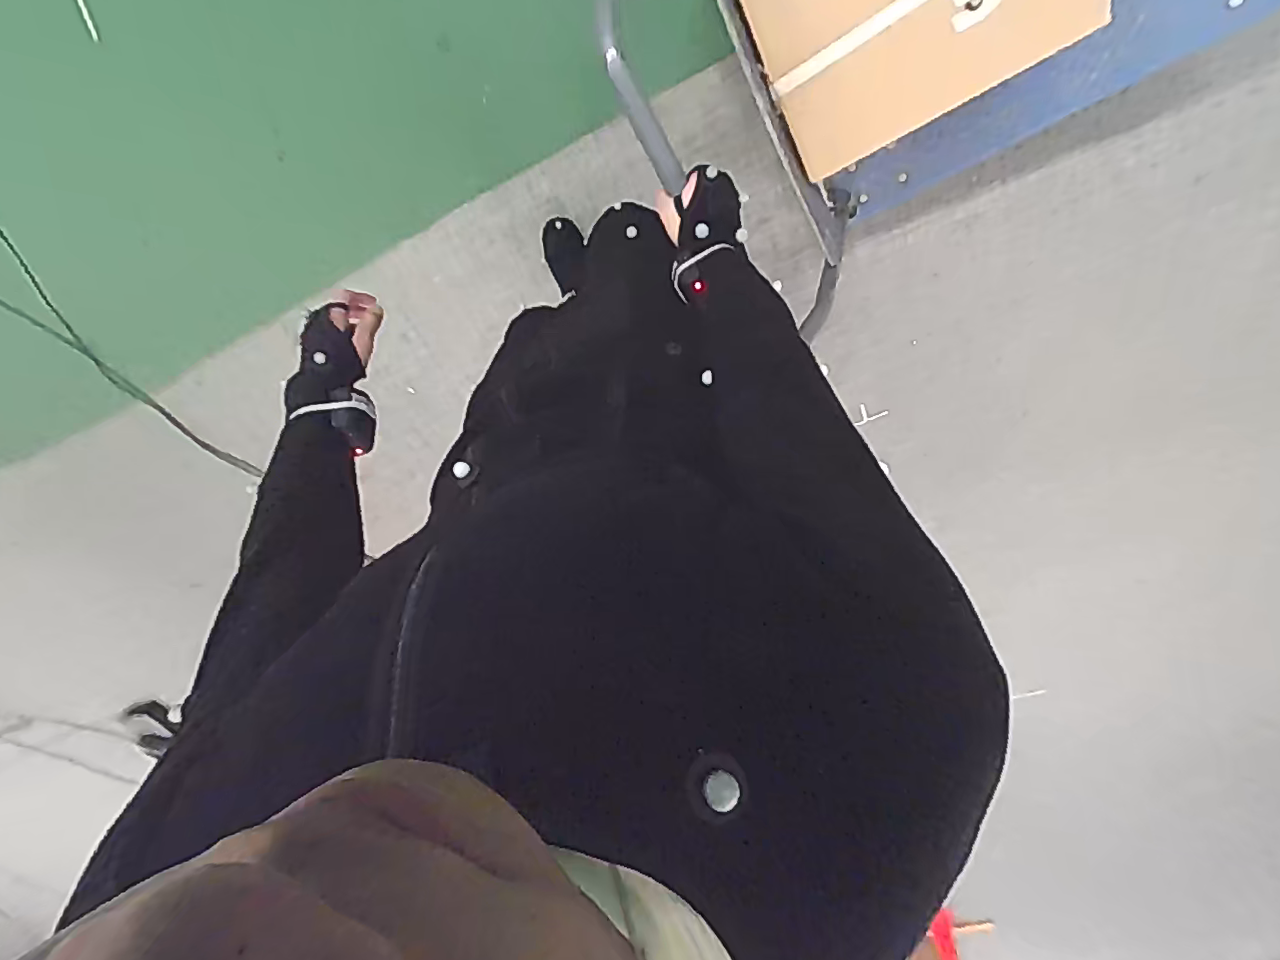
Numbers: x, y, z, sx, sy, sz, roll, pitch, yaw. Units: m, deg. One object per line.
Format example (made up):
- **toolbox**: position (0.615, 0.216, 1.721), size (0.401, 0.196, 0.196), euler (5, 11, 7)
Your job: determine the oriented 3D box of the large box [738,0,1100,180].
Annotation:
- **large box**: position (0.413, -0.766, 0.866), size (0.408, 0.320, 0.320), euler (-18, 122, 31)
